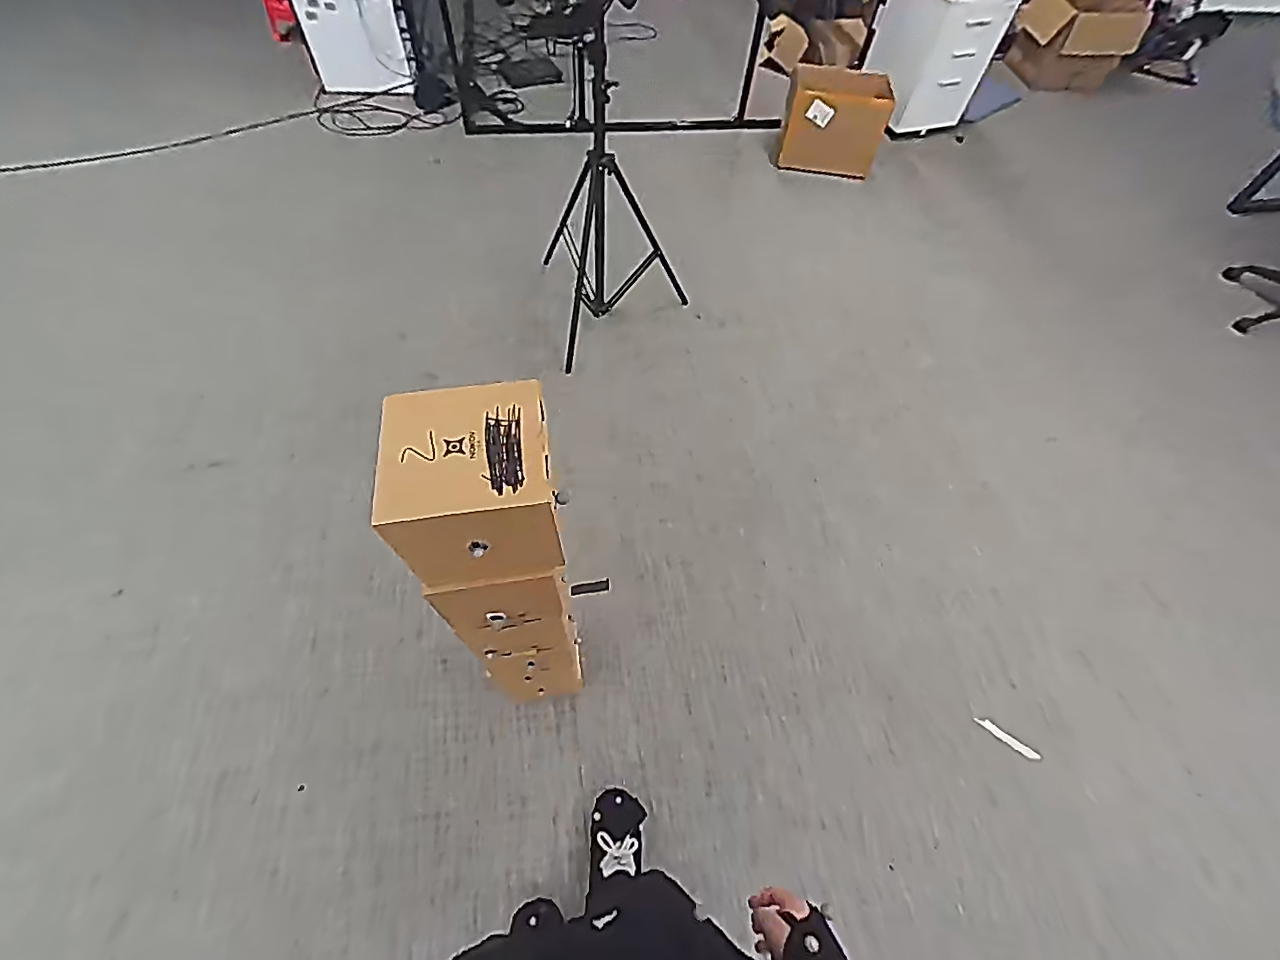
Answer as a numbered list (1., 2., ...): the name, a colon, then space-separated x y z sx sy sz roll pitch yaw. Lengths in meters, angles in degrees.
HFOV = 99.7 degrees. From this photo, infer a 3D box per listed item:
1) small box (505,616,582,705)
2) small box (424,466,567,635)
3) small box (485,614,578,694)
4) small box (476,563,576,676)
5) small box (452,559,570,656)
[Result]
1. small box: -0.235 0.446 1.329 0.179 0.176 0.168 -6 59 -7
2. small box: -0.199 0.104 0.773 0.168 0.176 0.179 -8 61 -7
3. small box: -0.233 0.364 1.186 0.179 0.176 0.168 -4 60 -6
4. small box: -0.216 0.276 1.050 0.168 0.176 0.179 -5 60 -6
5. small box: -0.210 0.189 0.910 0.168 0.176 0.179 -6 58 -7
